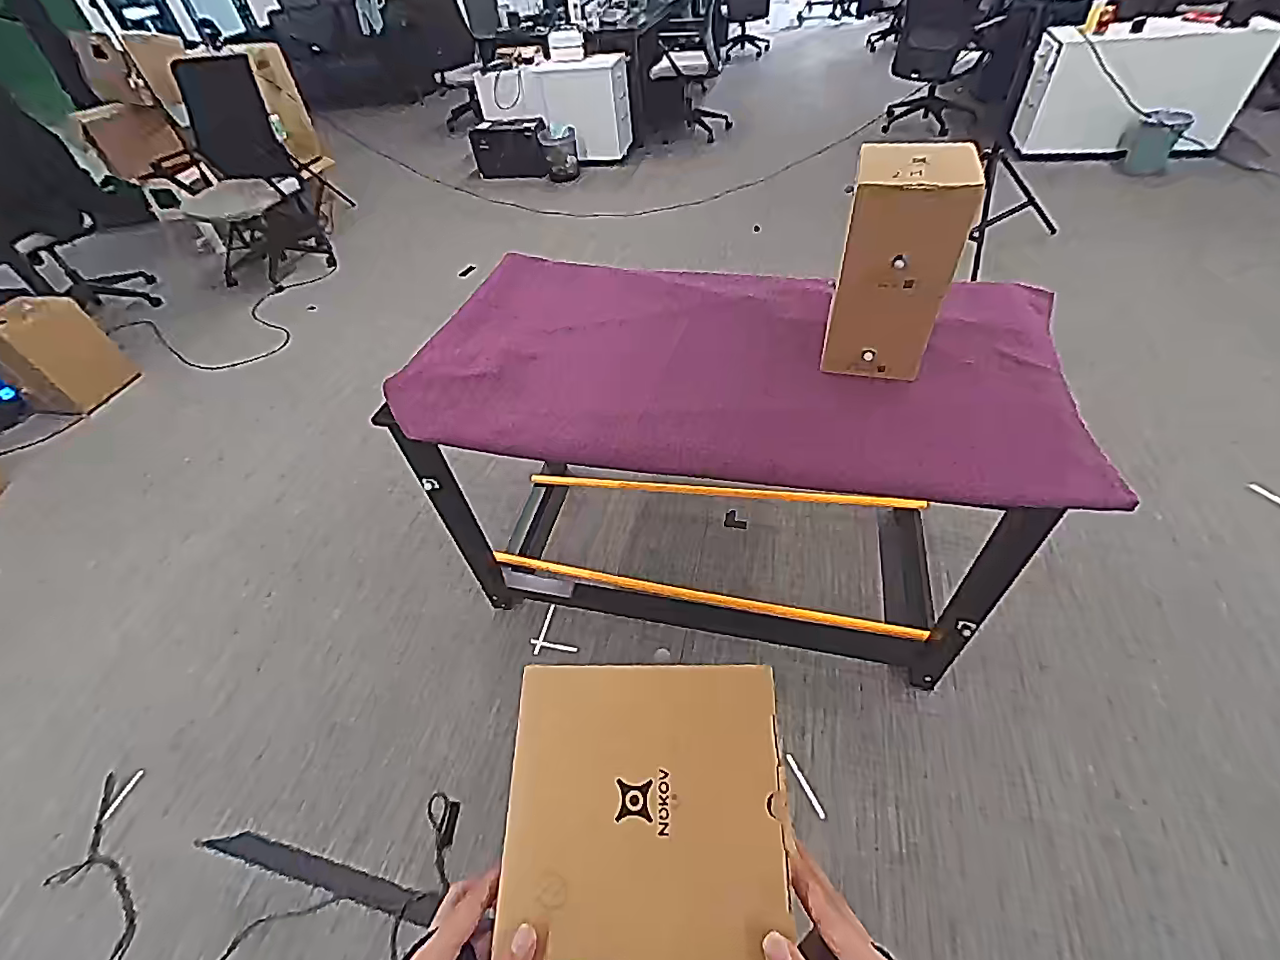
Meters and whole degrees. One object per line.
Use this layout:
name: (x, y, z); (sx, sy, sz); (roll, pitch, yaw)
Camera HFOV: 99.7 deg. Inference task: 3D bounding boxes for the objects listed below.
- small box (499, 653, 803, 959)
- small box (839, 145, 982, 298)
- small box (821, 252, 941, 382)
small box: (0.018, 0.231, 0.407); (0.179, 0.176, 0.168); (-3, 61, 8)
small box: (0.420, -0.415, 0.866); (0.168, 0.176, 0.179); (9, 50, 16)
small box: (0.433, -0.305, 0.988); (0.168, 0.176, 0.179); (9, 50, 16)
